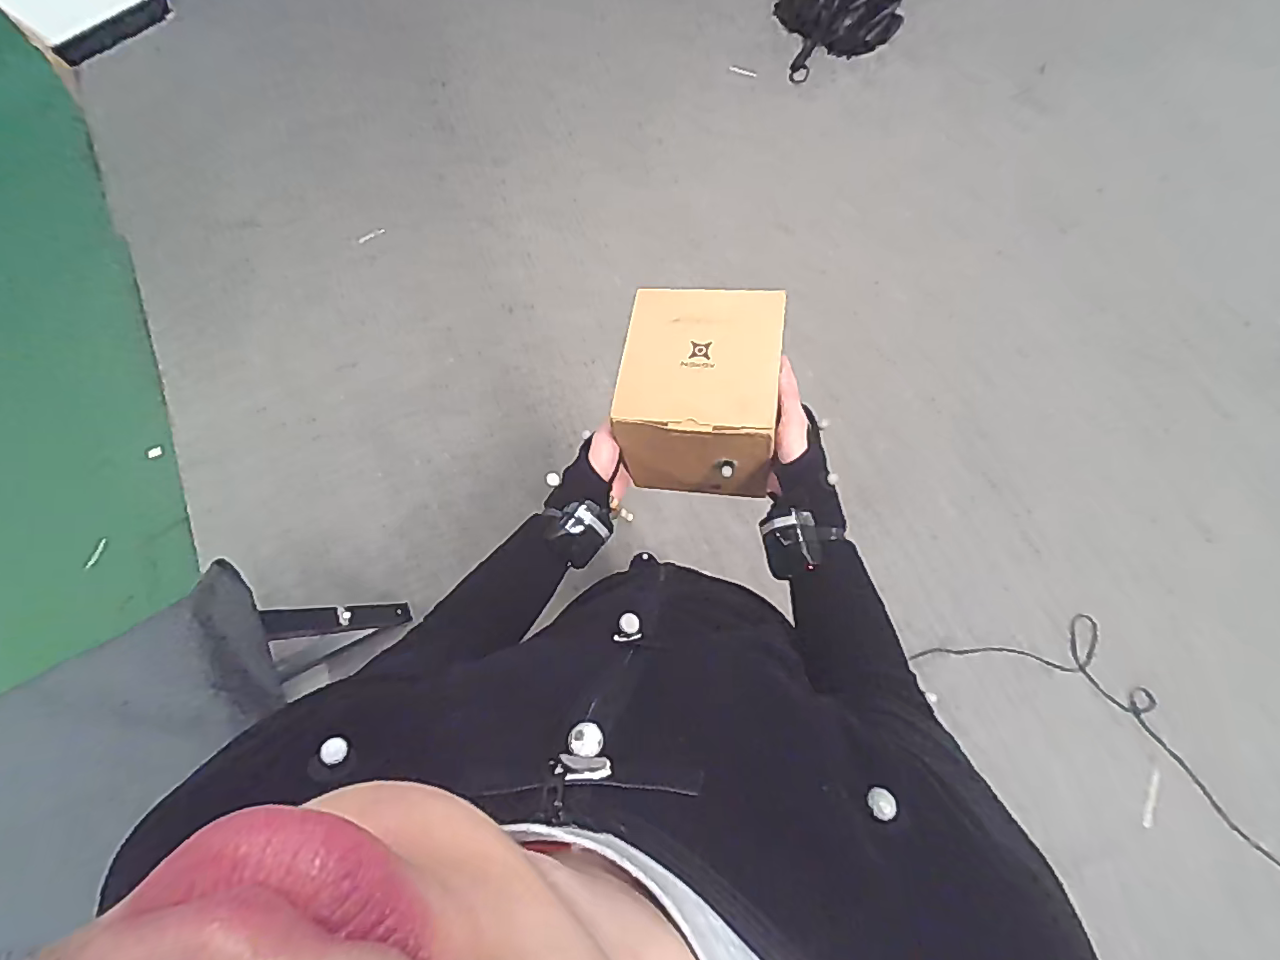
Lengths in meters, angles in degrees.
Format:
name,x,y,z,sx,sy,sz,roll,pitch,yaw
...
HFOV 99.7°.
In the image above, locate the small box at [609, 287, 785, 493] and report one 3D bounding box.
name,x,y,z,sx,sy,sz,roll,pitch,yaw
small box,0.073,-0.098,0.632,0.168,0.176,0.179,6,65,11
